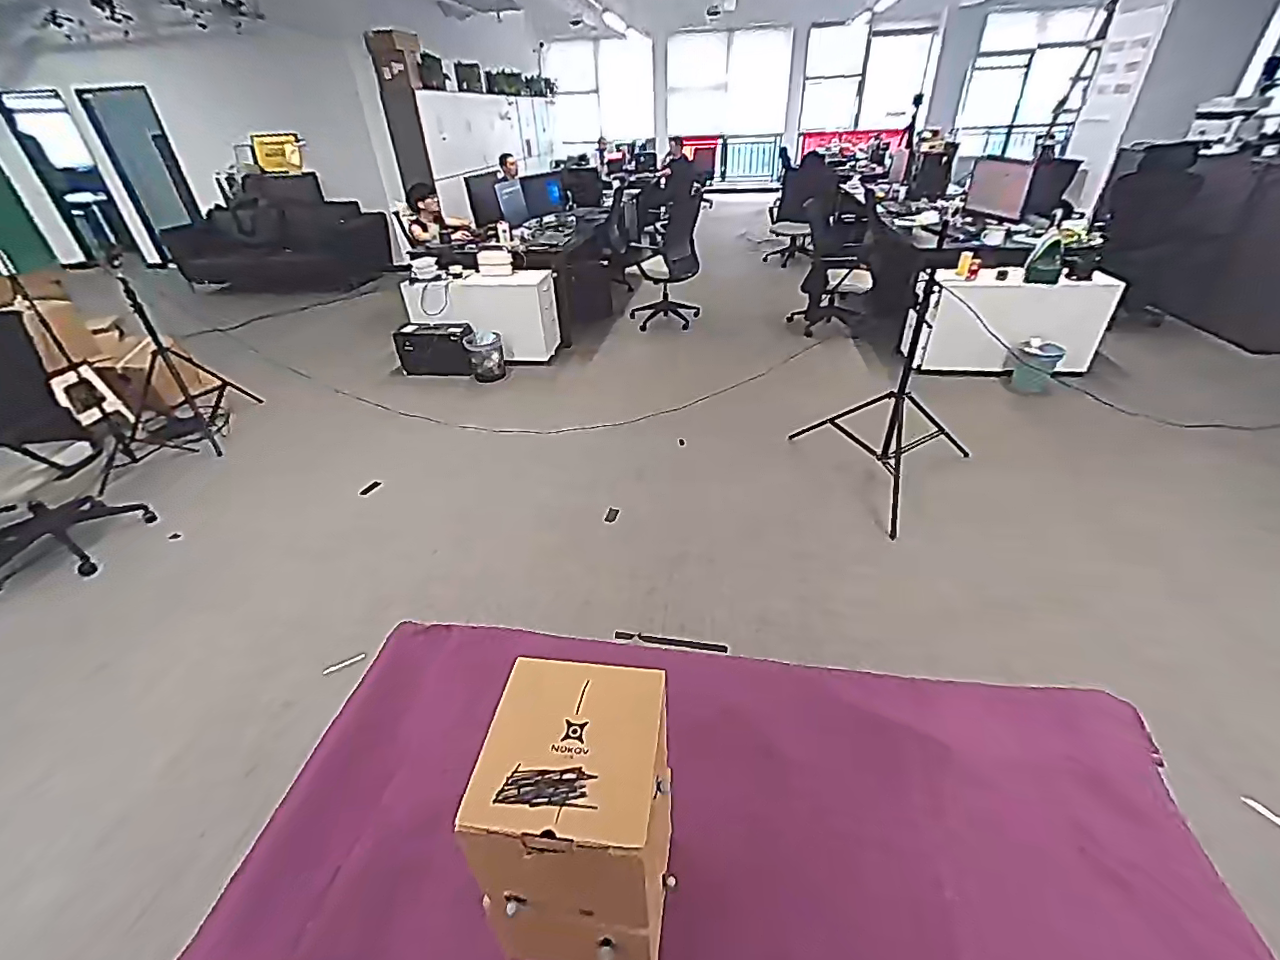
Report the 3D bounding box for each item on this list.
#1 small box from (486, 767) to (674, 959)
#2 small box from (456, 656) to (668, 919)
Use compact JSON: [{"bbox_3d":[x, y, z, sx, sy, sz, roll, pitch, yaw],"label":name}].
[{"bbox_3d":[-0.055,0.451,0.641,0.179,0.176,0.168,3,34,9],"label":"small box"},{"bbox_3d":[-0.061,0.311,0.555,0.168,0.176,0.179,3,34,7],"label":"small box"}]
